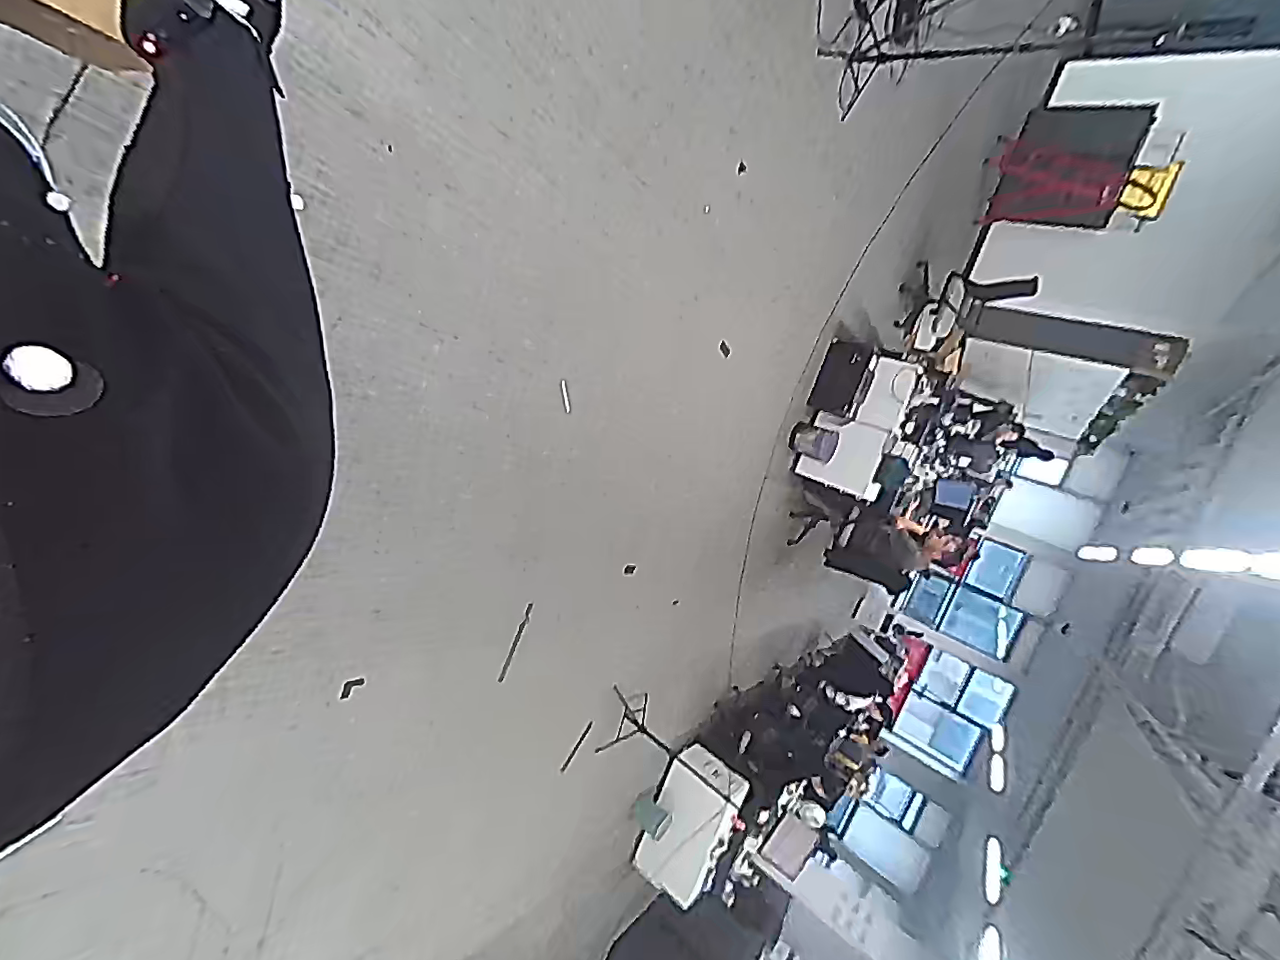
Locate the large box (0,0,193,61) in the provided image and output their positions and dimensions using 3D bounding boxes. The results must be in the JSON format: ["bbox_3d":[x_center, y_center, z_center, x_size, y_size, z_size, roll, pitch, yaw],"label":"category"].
[{"bbox_3d":[-0.579,-0.563,0.354,0.408,0.320,0.320,-1,116,-56],"label":"large box"}]
